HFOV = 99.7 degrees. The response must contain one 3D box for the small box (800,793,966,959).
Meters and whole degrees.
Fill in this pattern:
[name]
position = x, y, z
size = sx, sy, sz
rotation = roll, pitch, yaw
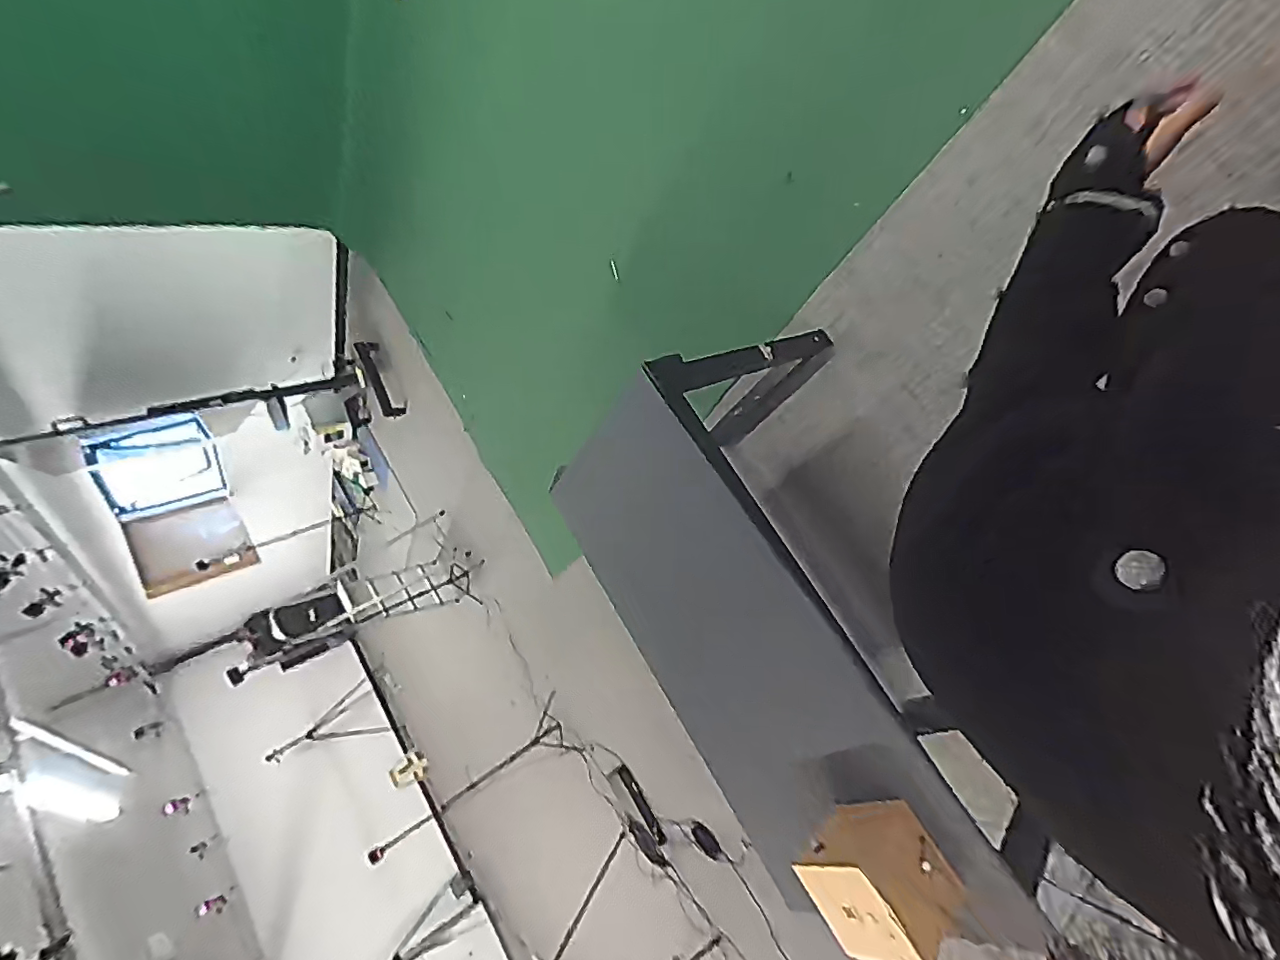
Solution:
[small box]
position = 0.430, 0.688, 0.959
size = 0.168, 0.176, 0.179
rotation = 55, 140, 14
